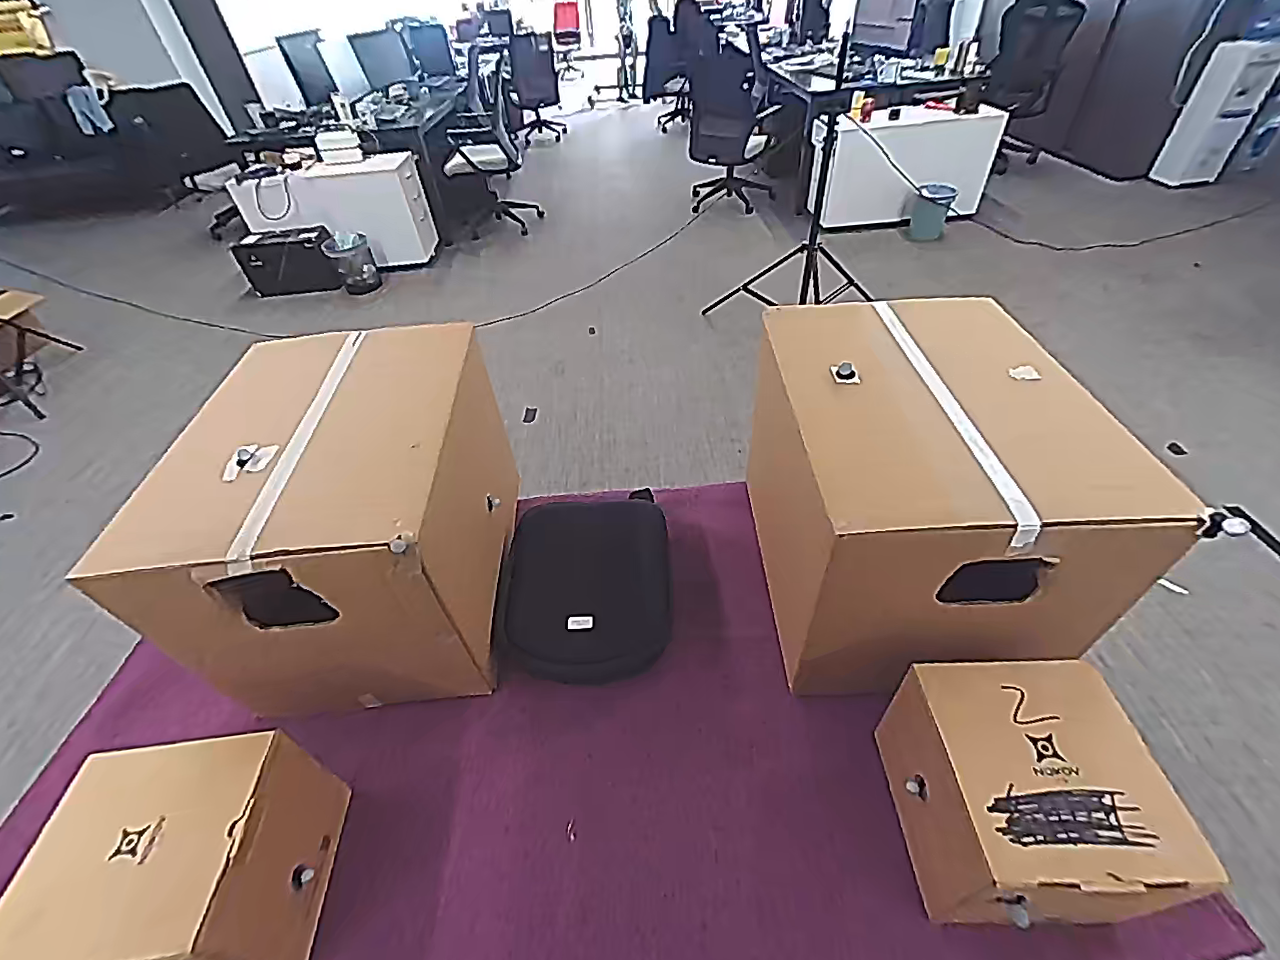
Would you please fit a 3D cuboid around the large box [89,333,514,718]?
[{"bbox_3d":[-0.361,0.050,0.733,0.320,0.320,0.408,-7,46,-1],"label":"large box"}]

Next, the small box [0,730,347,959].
[{"bbox_3d":[-0.416,0.363,0.508,0.179,0.176,0.168,-7,42,-3],"label":"small box"}]
